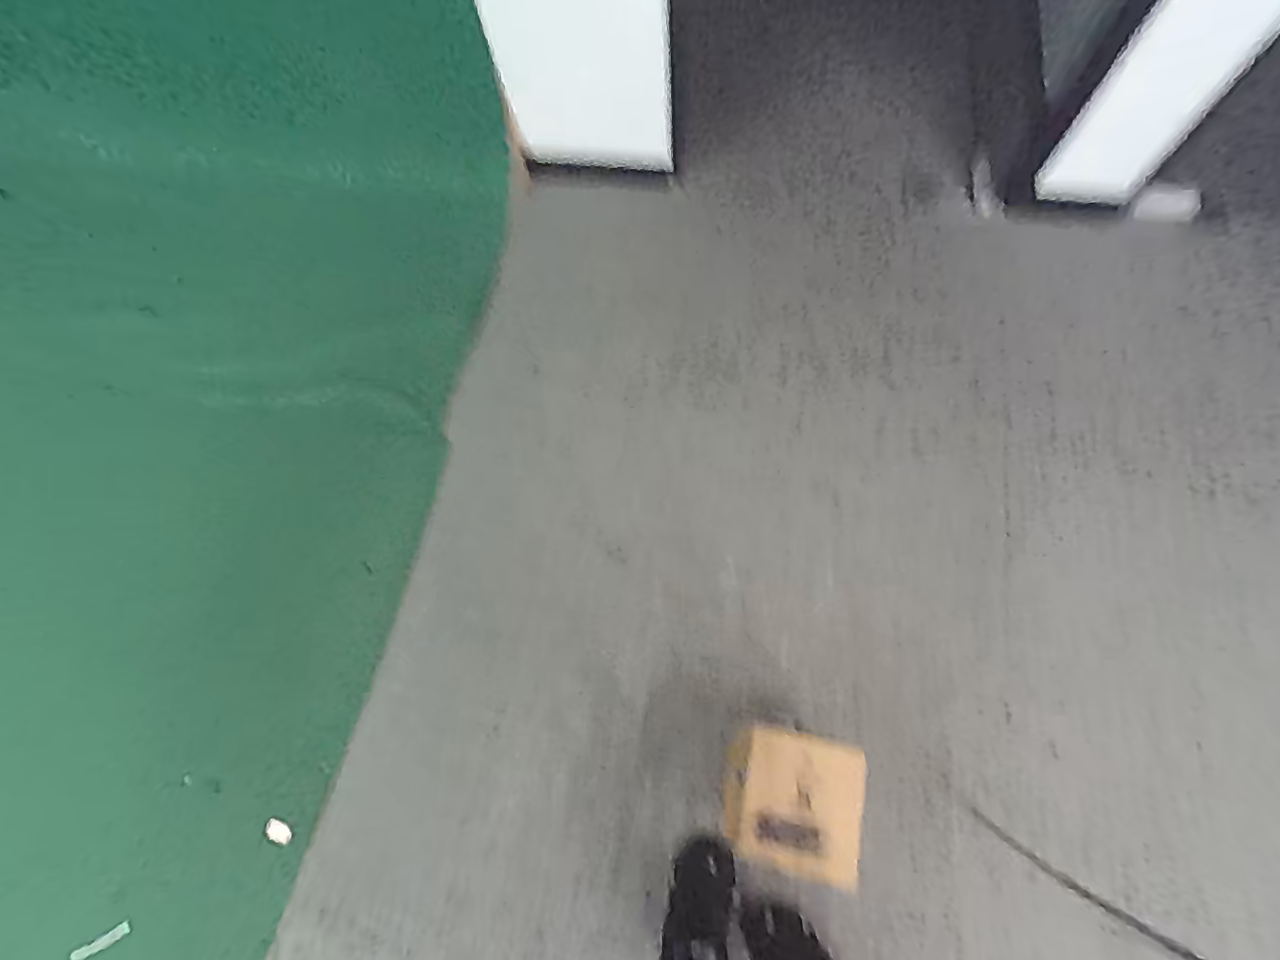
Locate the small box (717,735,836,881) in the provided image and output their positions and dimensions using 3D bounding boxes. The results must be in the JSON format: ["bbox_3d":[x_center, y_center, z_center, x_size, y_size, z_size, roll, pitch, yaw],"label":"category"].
[{"bbox_3d":[0.244,0.589,1.001,0.168,0.176,0.179,16,70,11],"label":"small box"}]
